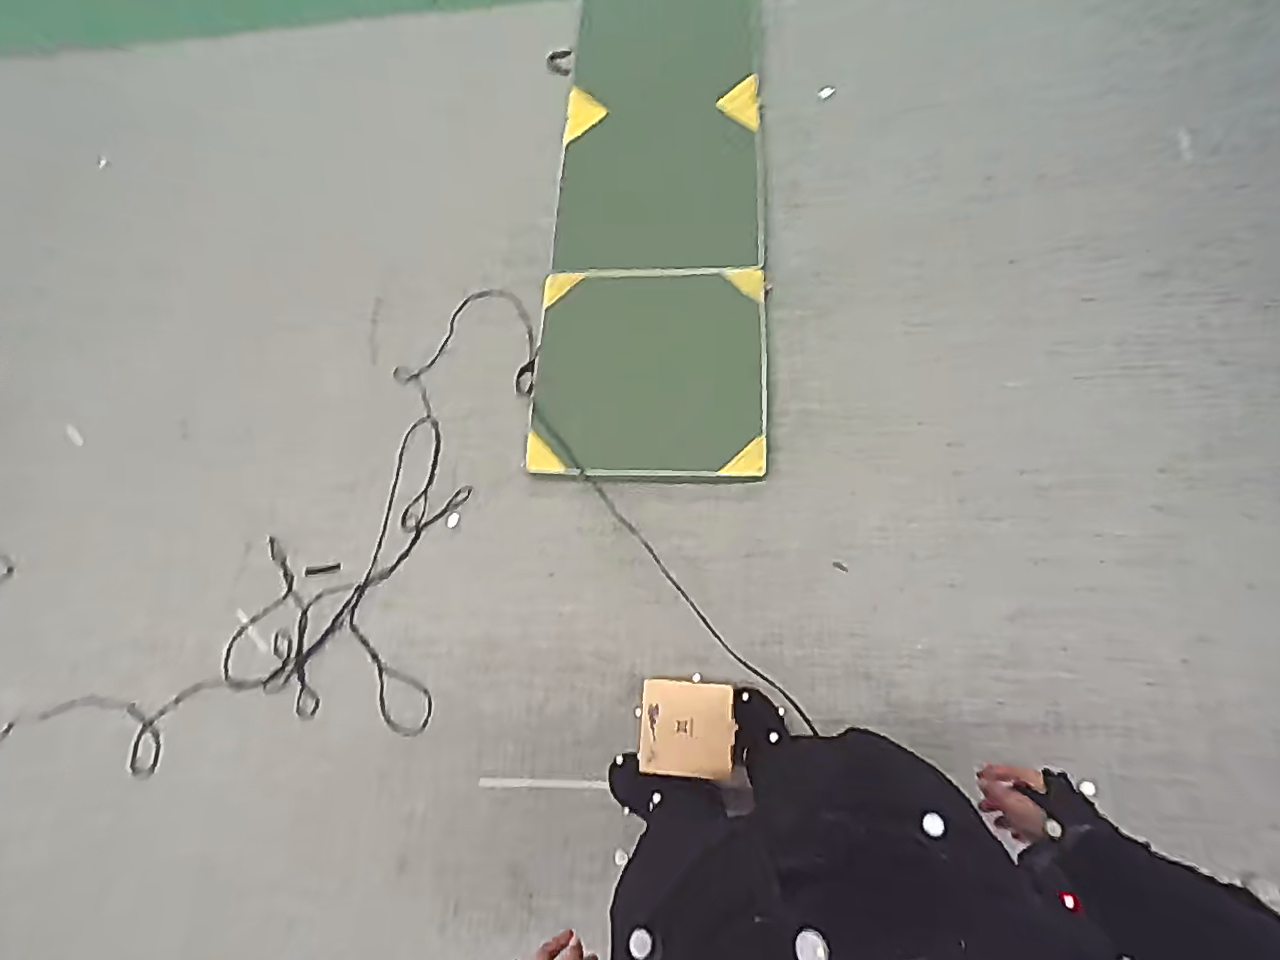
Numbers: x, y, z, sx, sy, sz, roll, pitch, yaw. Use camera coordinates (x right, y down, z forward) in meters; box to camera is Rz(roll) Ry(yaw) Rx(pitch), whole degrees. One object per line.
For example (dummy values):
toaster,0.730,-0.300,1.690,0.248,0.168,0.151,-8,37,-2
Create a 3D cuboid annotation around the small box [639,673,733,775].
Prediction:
small box,0.094,0.488,1.104,0.179,0.176,0.168,1,72,6
